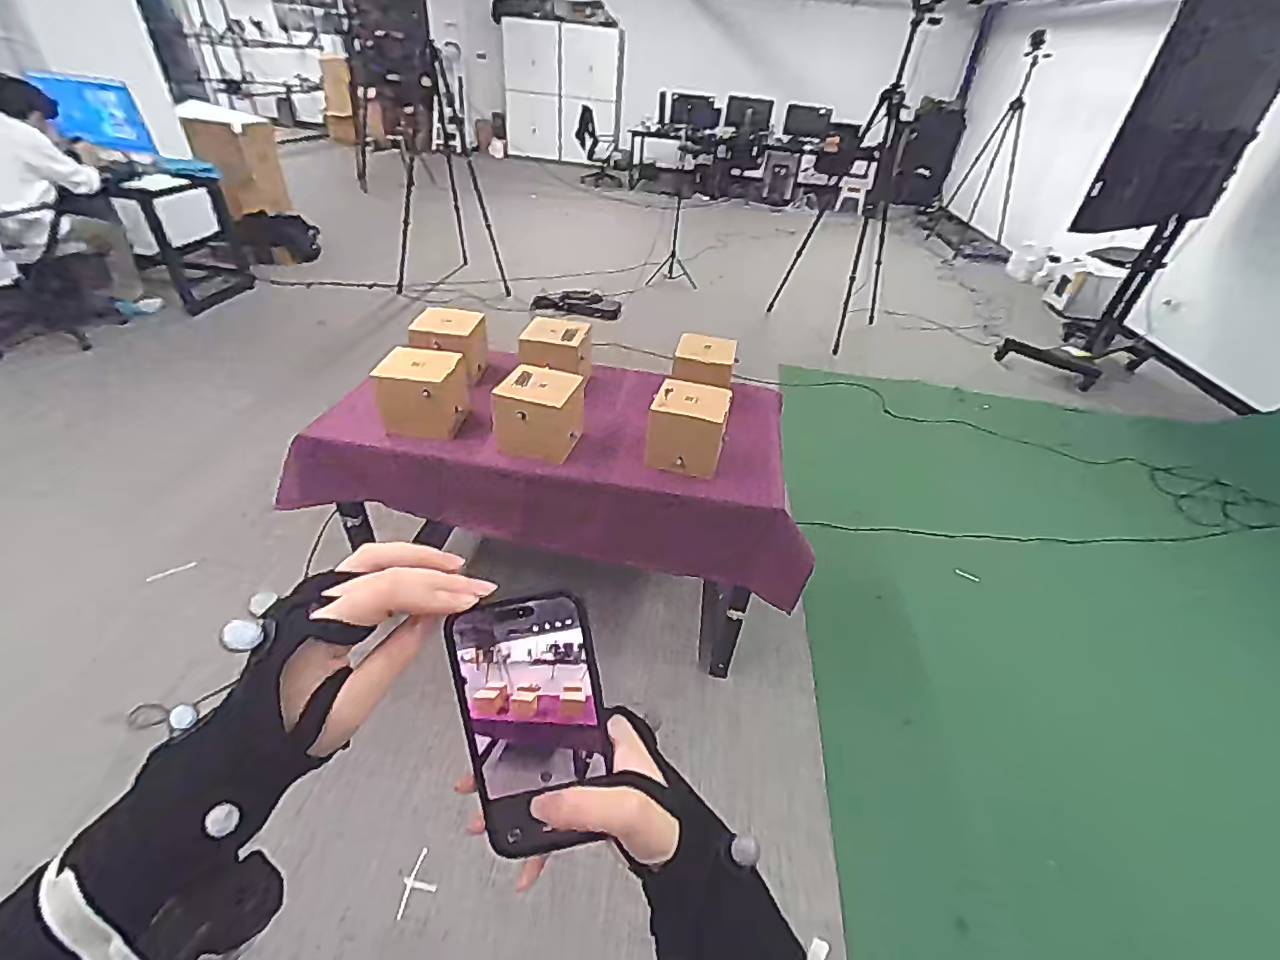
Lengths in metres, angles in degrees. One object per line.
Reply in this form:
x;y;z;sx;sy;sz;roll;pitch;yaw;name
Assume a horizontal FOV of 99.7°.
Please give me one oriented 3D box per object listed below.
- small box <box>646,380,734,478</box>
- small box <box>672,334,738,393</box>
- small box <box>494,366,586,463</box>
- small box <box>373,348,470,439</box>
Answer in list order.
0.123;-0.125;1.355;0.179;0.176;0.168;14;38;9;small box
0.188;-0.309;1.601;0.168;0.176;0.179;11;39;7;small box
-0.246;-0.163;1.355;0.179;0.176;0.168;14;38;8;small box
-0.552;-0.221;1.389;0.179;0.176;0.168;7;37;-1;small box
